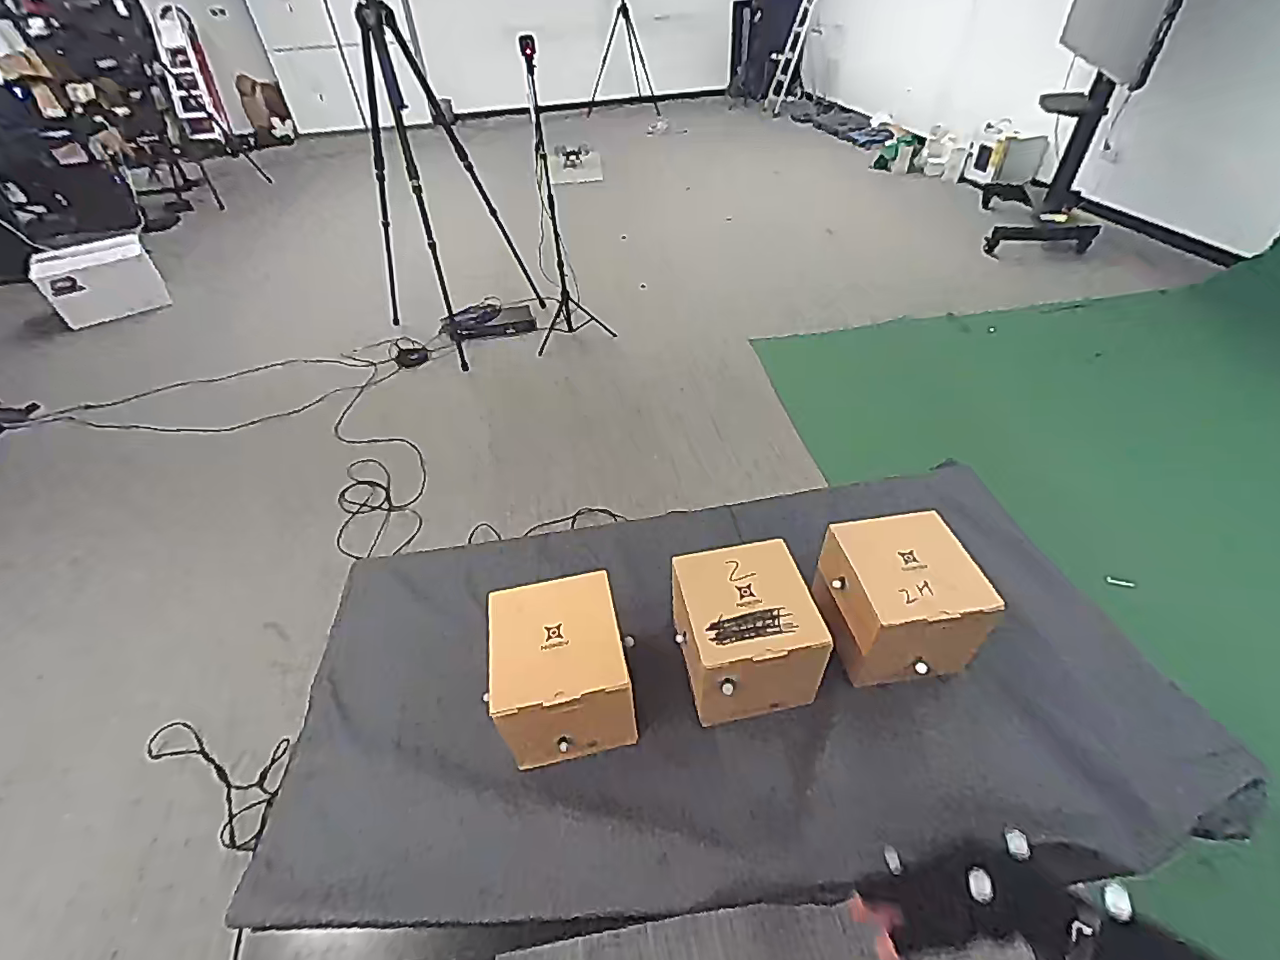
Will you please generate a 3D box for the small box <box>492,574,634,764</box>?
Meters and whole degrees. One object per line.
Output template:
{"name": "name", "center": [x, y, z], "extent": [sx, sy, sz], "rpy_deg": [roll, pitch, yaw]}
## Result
{"name": "small box", "center": [-0.105, 0.261, 0.752], "extent": [0.168, 0.176, 0.179], "rpy_deg": [-10, 44, -7]}
